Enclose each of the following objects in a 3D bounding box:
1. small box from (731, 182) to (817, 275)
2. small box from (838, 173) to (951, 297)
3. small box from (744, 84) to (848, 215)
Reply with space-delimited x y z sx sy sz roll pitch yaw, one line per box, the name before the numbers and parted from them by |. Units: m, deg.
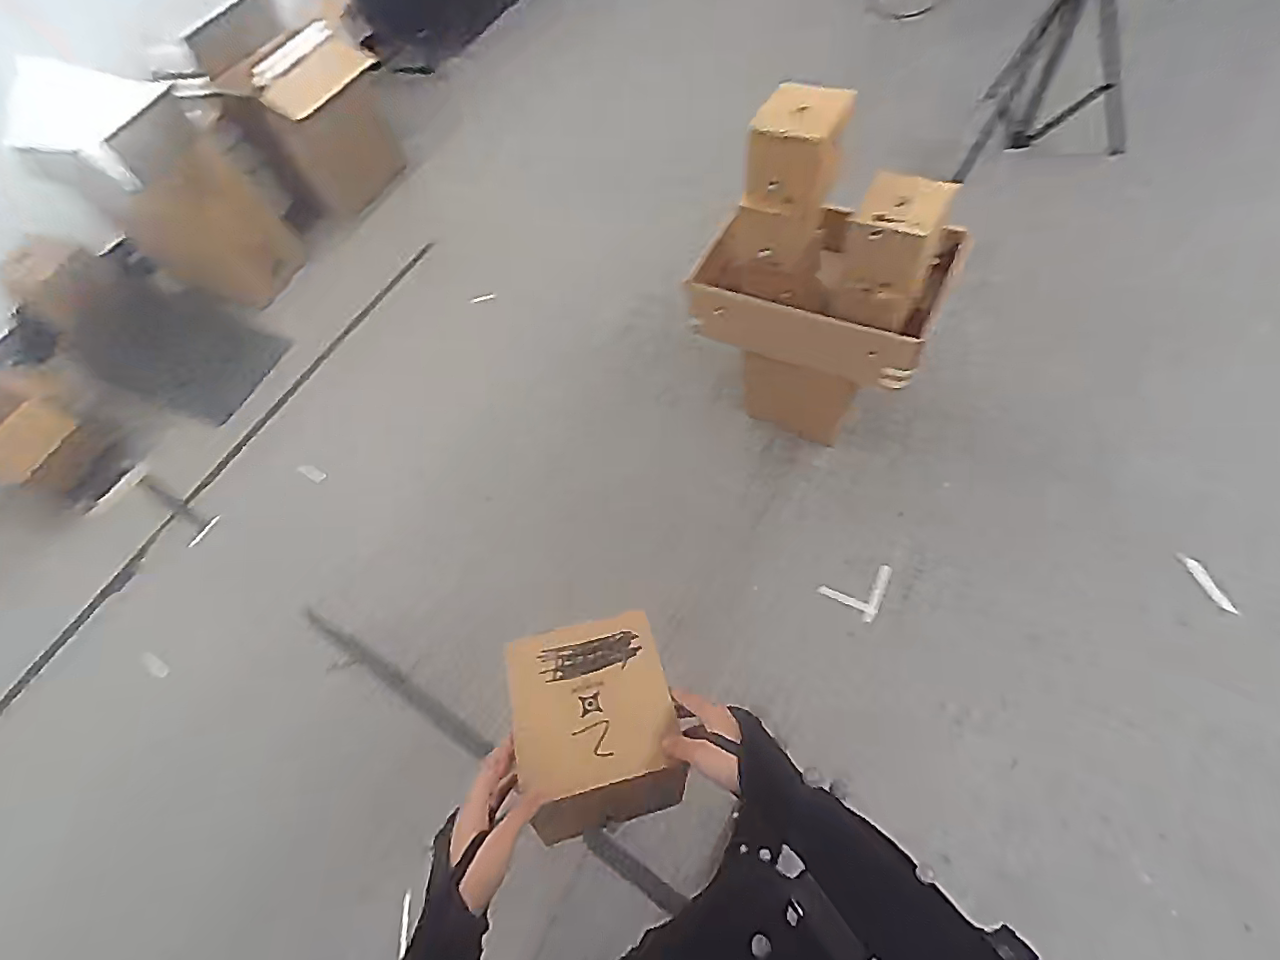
small box | 0.328 -0.641 1.327 0.168 0.176 0.179 19 68 19
small box | 0.564 -0.551 1.221 0.168 0.176 0.179 26 69 24
small box | 0.332 -0.719 1.181 0.168 0.176 0.179 23 68 20
